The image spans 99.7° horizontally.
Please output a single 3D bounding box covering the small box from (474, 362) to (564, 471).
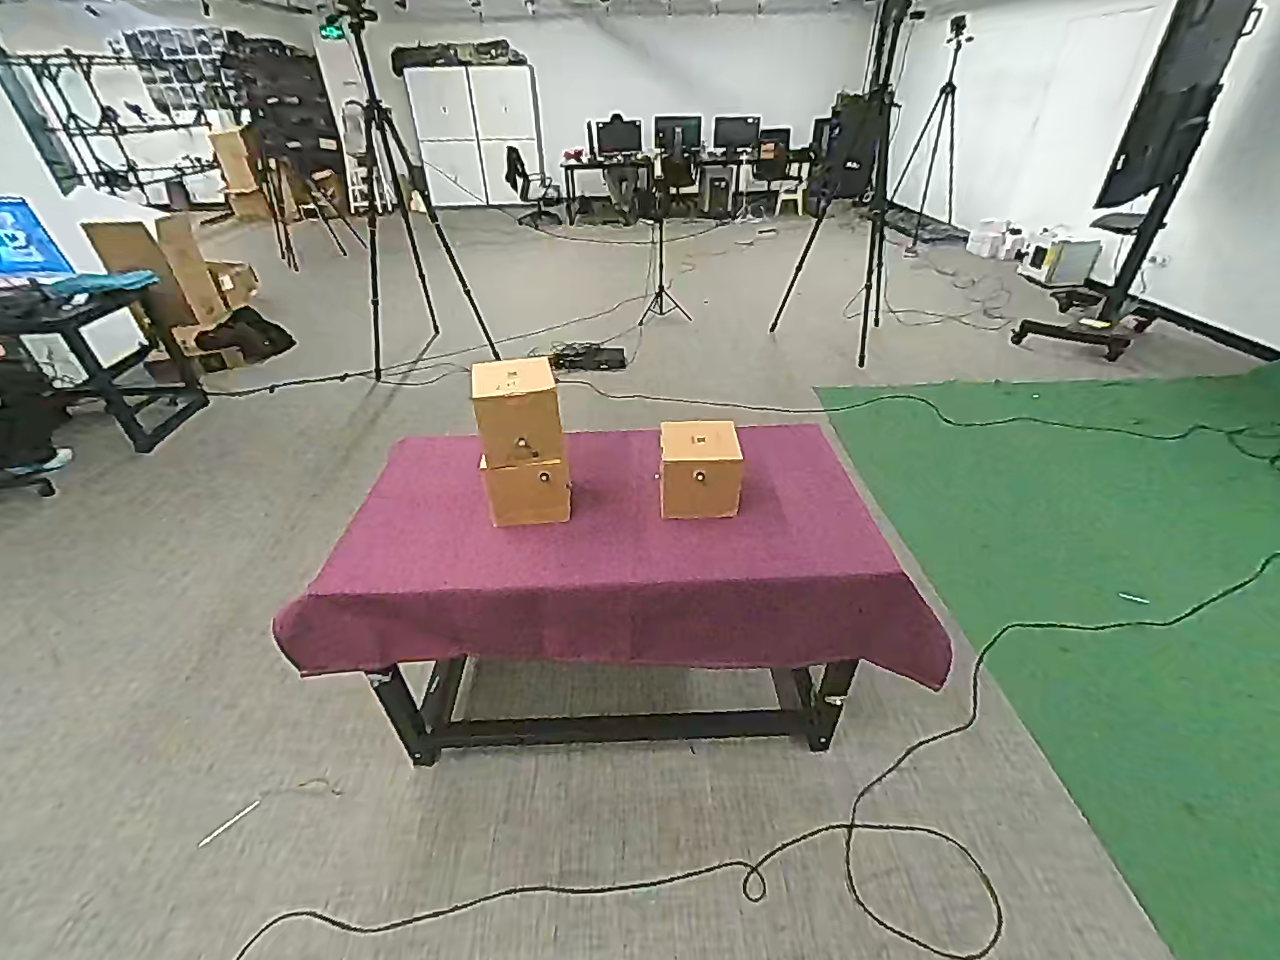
[{"bbox_3d":[-0.263,-0.141,1.182,0.168,0.176,0.179,-9,36,-10],"label":"small box"}]

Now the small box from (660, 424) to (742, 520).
[{"bbox_3d":[0.138,-0.017,1.270,0.179,0.176,0.168,-1,36,1],"label":"small box"}]

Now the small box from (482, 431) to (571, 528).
[{"bbox_3d":[-0.258,-0.001,1.269,0.179,0.176,0.168,-4,35,-5],"label":"small box"}]
